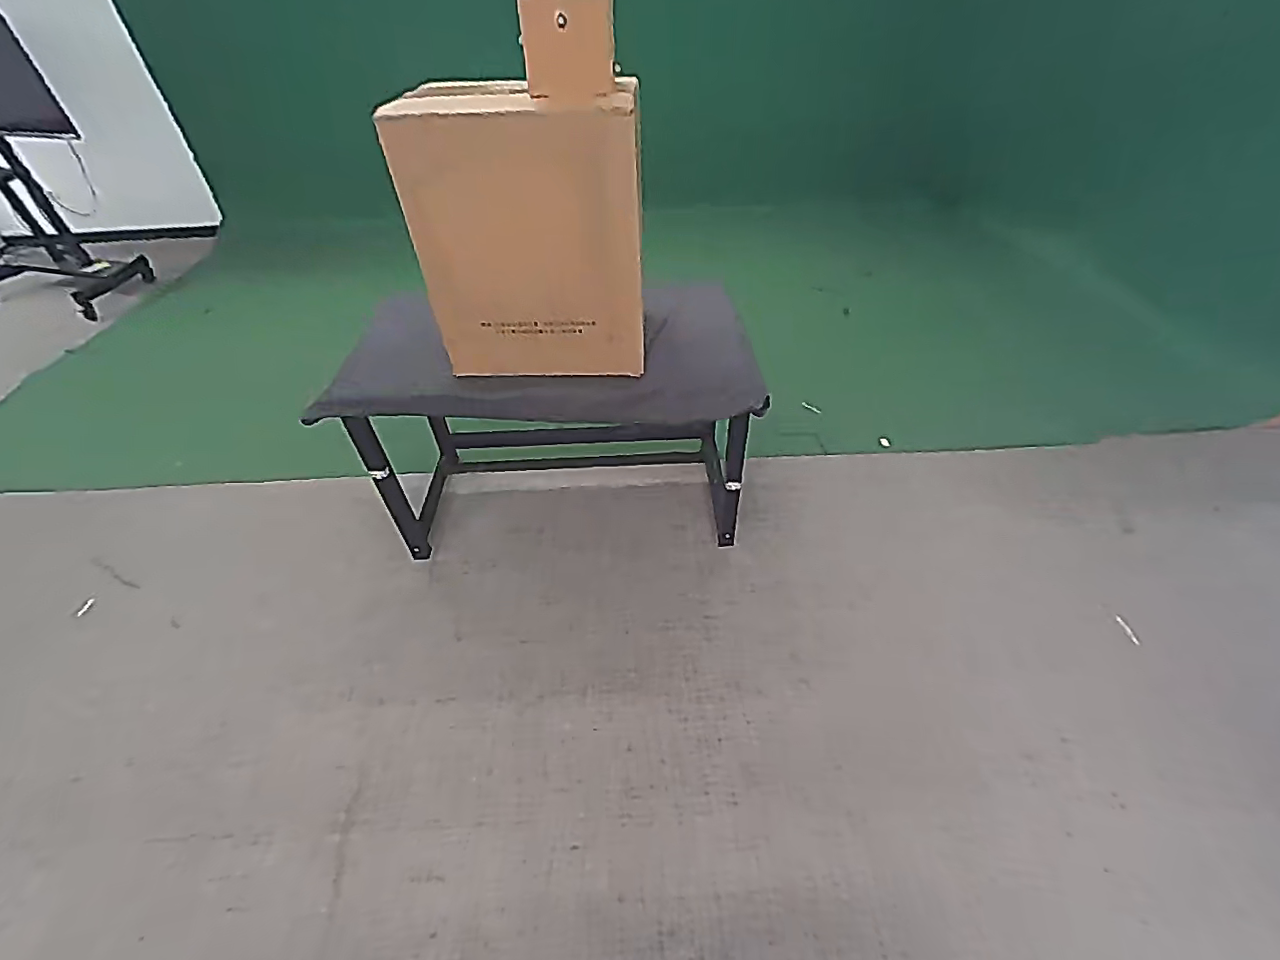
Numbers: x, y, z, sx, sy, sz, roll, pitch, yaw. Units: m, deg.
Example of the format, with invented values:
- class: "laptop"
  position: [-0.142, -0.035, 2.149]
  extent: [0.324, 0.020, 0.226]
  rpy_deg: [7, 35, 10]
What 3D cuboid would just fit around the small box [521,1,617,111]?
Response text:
- class: "small box"
  position: [-0.143, -0.906, 1.156]
  extent: [0.179, 0.176, 0.168]
  rpy_deg: [1, 46, 0]
